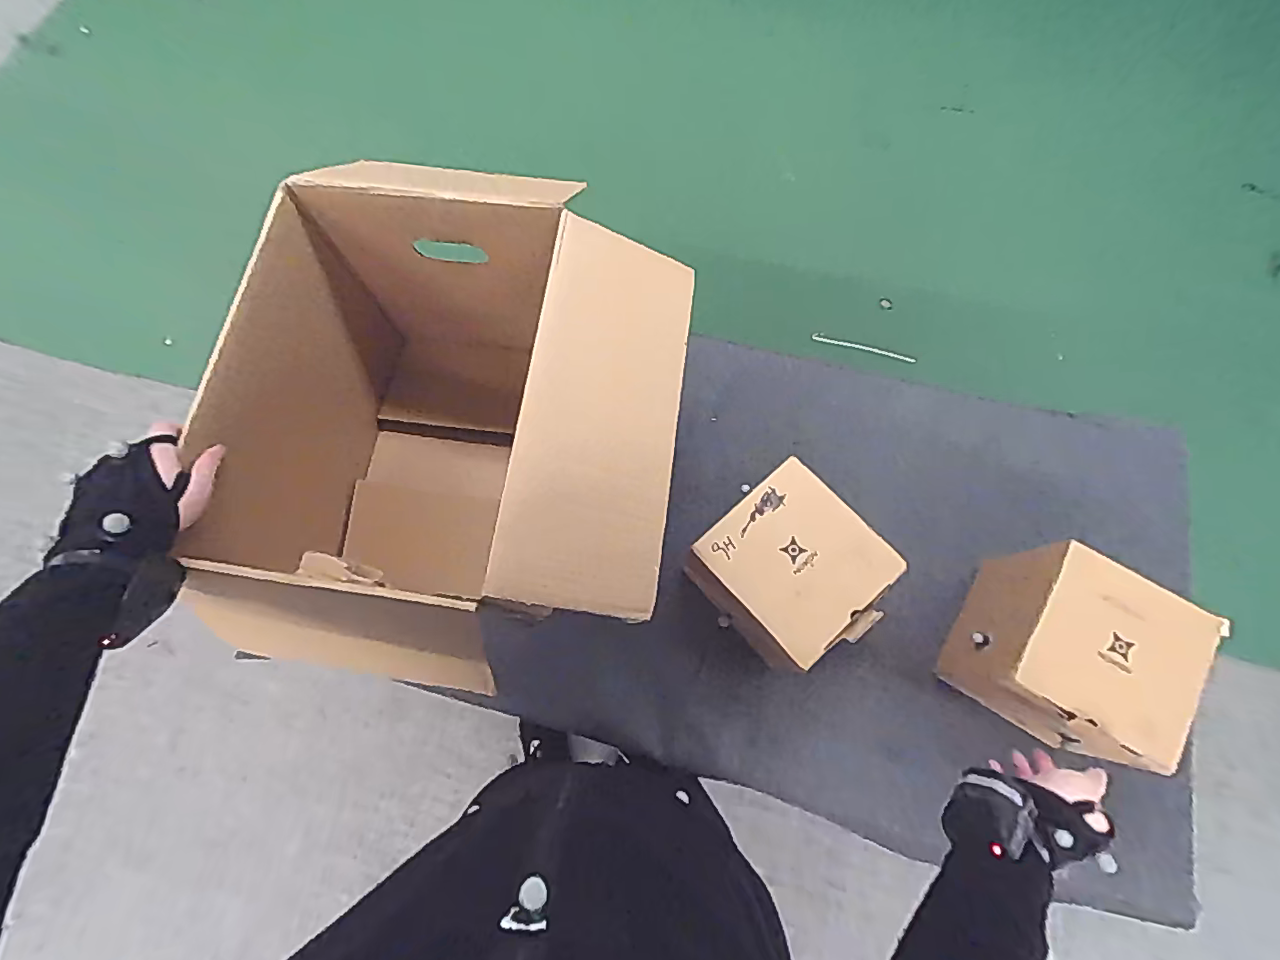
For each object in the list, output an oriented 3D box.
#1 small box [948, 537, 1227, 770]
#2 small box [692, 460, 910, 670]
[{"bbox_3d":[0.500,0.196,0.633,0.168,0.176,0.179,31,75,10],"label":"small box"},{"bbox_3d":[0.183,0.108,0.673,0.168,0.176,0.179,-40,76,-10],"label":"small box"}]
